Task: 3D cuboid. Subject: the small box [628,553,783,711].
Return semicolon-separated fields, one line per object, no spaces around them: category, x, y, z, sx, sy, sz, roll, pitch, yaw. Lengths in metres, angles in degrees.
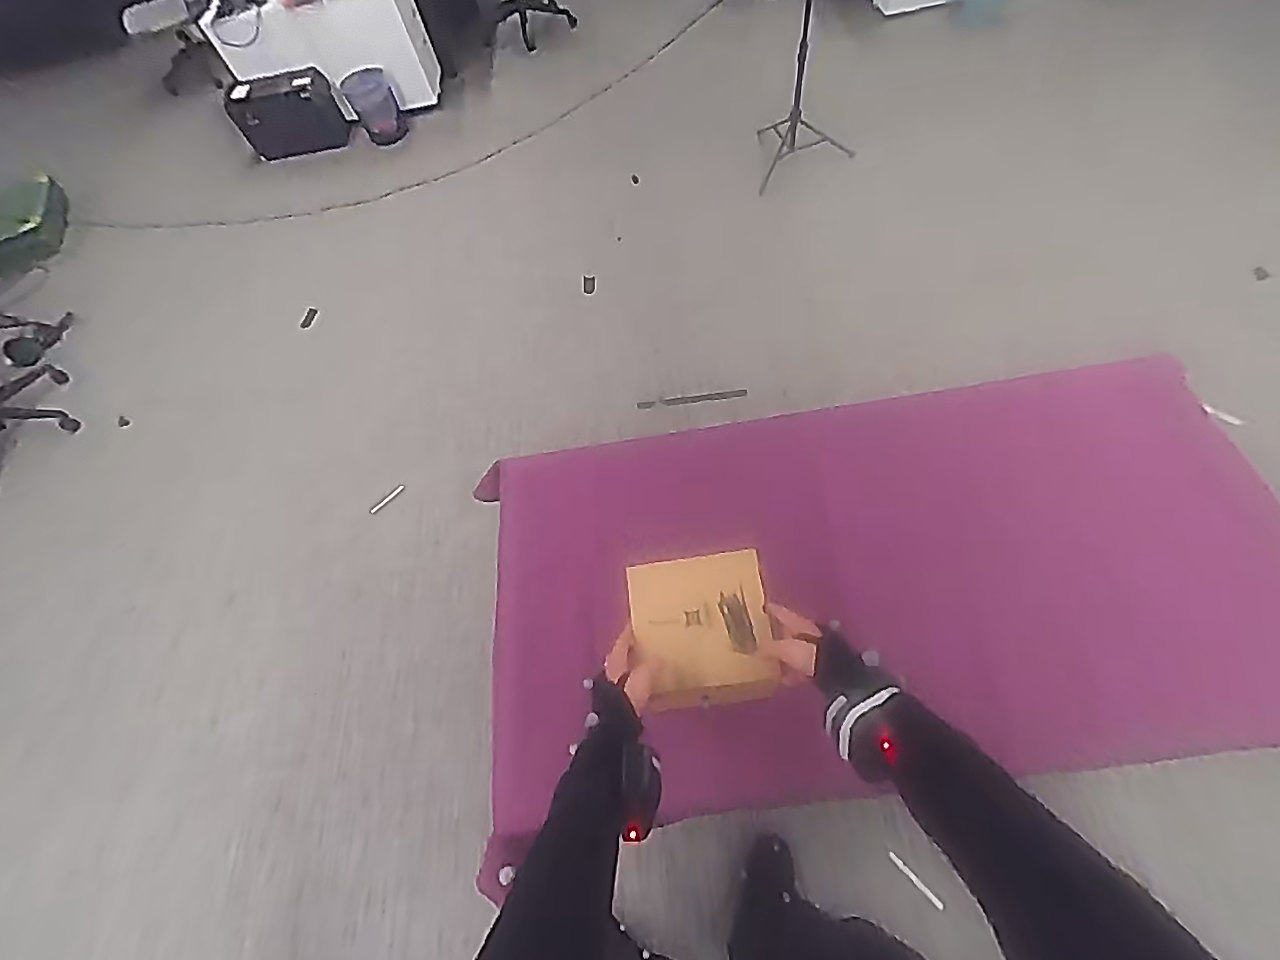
small box;0.086;0.216;0.748;0.179;0.176;0.168;-9;59;4
